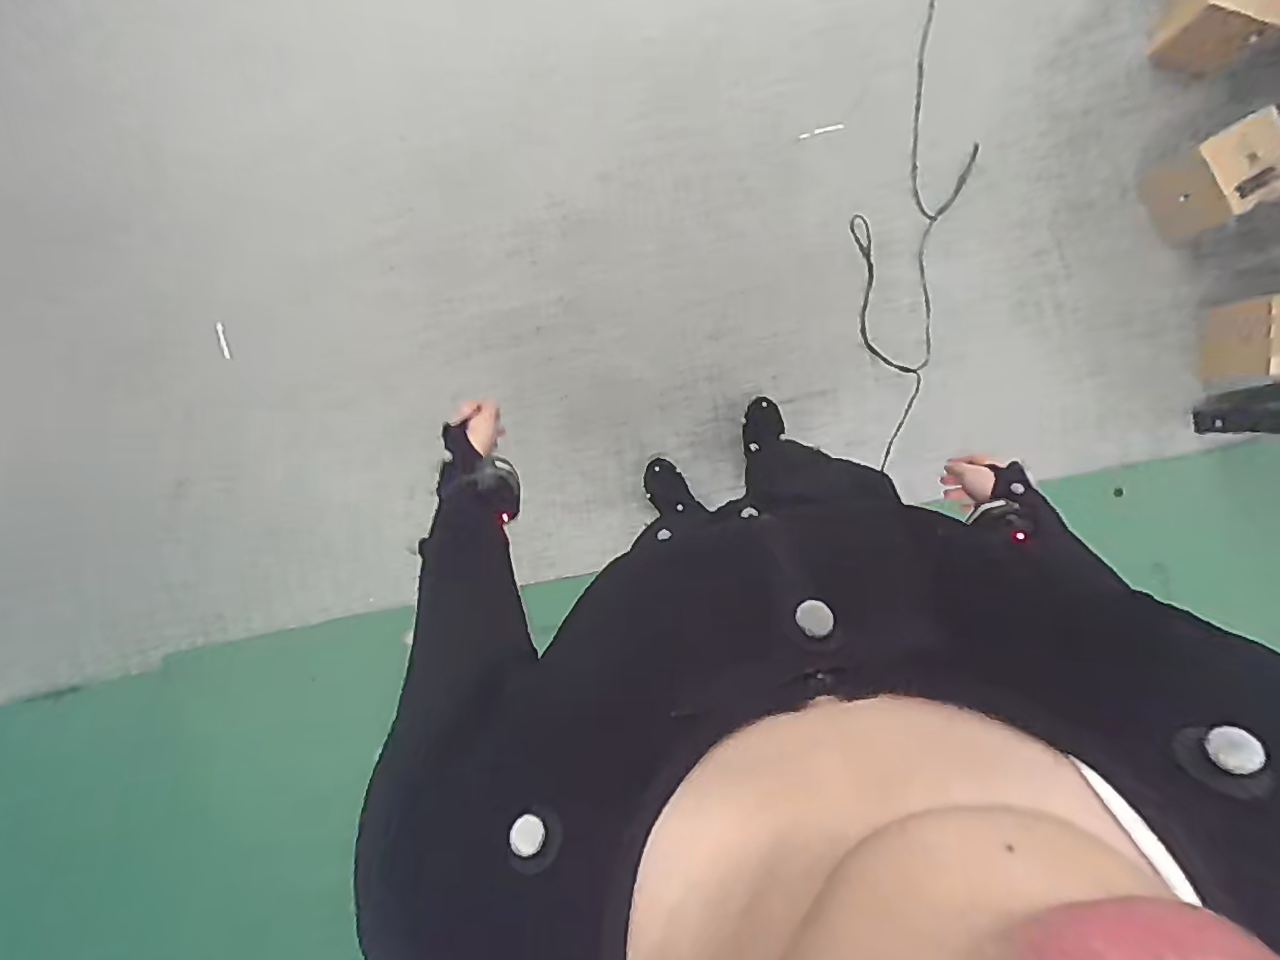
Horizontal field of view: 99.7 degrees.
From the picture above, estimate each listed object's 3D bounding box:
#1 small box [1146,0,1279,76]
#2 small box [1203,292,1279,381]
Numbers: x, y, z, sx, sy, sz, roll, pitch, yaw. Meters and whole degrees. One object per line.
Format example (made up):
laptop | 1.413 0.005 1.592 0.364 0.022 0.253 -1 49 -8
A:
small box | 1.301 -1.050 1.202 0.179 0.176 0.168 20 96 3
small box | 1.455 -0.331 1.241 0.168 0.176 0.179 -7 95 6
